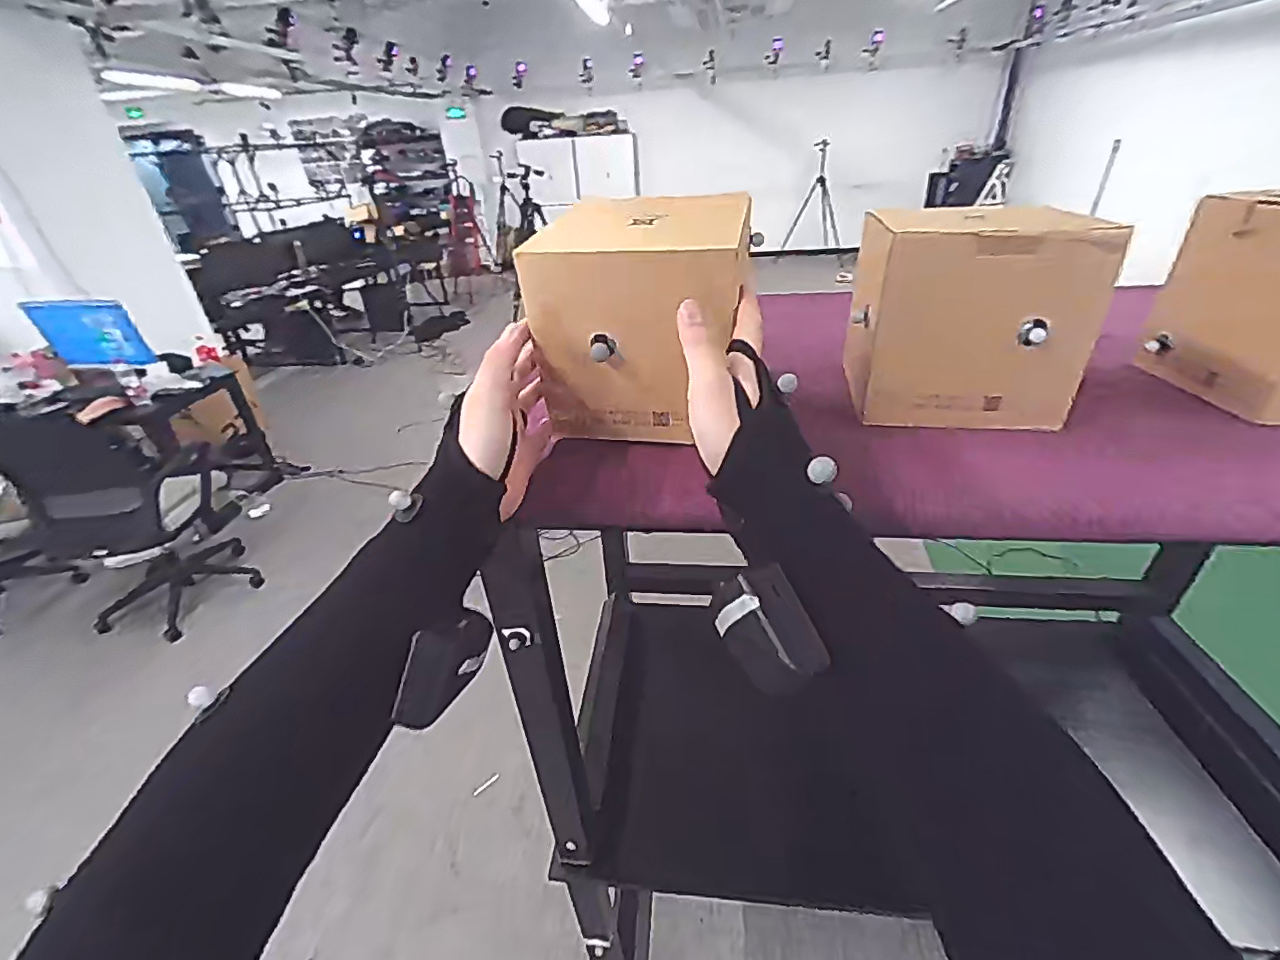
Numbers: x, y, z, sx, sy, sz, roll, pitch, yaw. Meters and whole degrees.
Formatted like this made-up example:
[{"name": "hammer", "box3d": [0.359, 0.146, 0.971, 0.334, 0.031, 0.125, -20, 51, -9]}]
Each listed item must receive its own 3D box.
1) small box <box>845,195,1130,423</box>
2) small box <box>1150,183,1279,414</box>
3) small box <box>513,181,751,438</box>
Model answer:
[{"name": "small box", "box3d": [0.297, -0.164, 0.513, 0.168, 0.176, 0.179, 4, 32, 12]}, {"name": "small box", "box3d": [0.607, -0.161, 0.471, 0.179, 0.176, 0.168, 1, 32, 7]}, {"name": "small box", "box3d": [0.010, -0.152, 0.486, 0.168, 0.176, 0.179, 4, 40, 12]}]
